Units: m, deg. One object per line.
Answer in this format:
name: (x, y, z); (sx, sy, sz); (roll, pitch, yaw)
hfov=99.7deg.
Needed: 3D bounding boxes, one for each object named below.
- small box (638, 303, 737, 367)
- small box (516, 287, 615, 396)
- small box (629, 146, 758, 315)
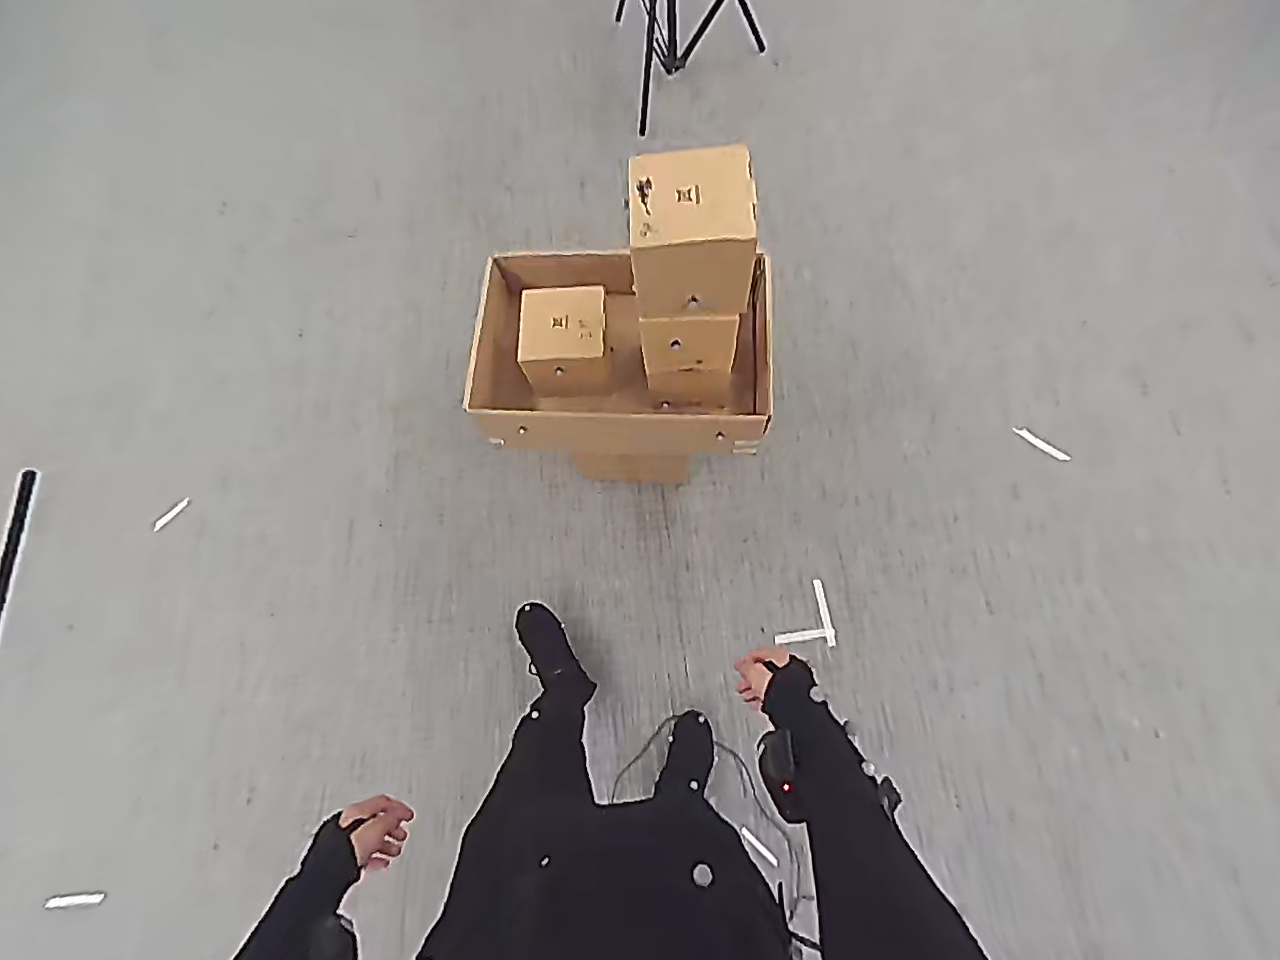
small box: (0.087, -0.317, 0.980); (0.168, 0.176, 0.179); (0, 71, 5)
small box: (-0.152, -0.291, 1.163); (0.179, 0.176, 0.168); (-1, 73, 4)
small box: (0.076, -0.370, 0.825); (0.179, 0.176, 0.168); (-2, 71, 4)
